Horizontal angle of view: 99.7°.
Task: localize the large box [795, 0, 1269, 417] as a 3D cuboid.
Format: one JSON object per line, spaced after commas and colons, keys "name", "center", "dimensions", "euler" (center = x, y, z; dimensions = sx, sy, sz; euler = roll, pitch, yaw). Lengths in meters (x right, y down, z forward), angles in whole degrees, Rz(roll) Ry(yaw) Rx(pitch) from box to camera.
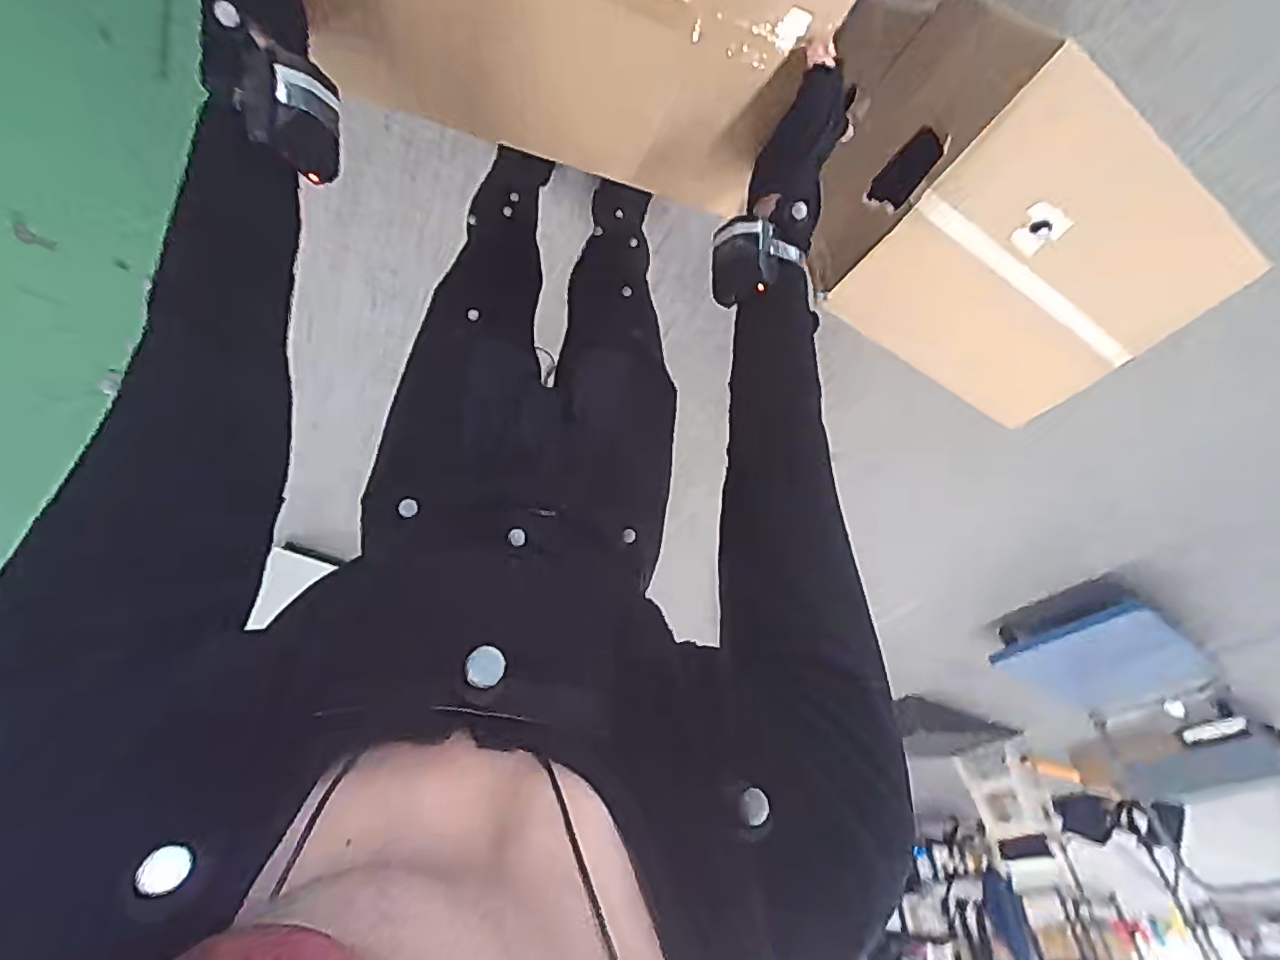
{"name": "large box", "center": [0.479, -0.359, 0.743], "dimensions": [0.408, 0.320, 0.320], "euler": [24, 136, -19]}
